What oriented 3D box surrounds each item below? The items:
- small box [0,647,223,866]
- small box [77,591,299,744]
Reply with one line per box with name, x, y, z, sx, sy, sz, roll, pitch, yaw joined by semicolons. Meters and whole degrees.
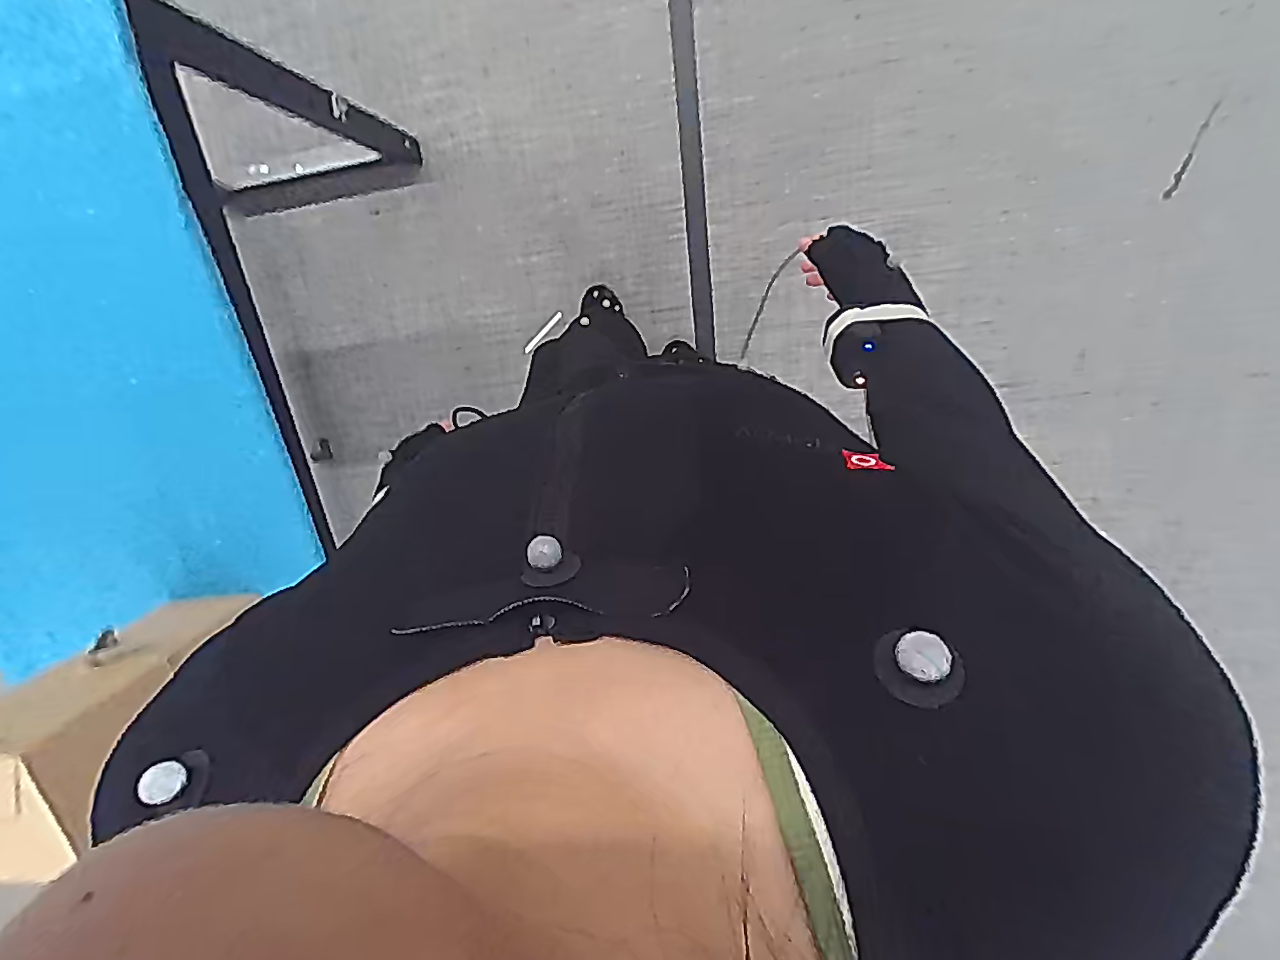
small box;-0.681;0.332;0.665;0.168;0.176;0.179;-5;107;9
small box;-0.674;0.284;0.825;0.179;0.176;0.168;-4;109;6
